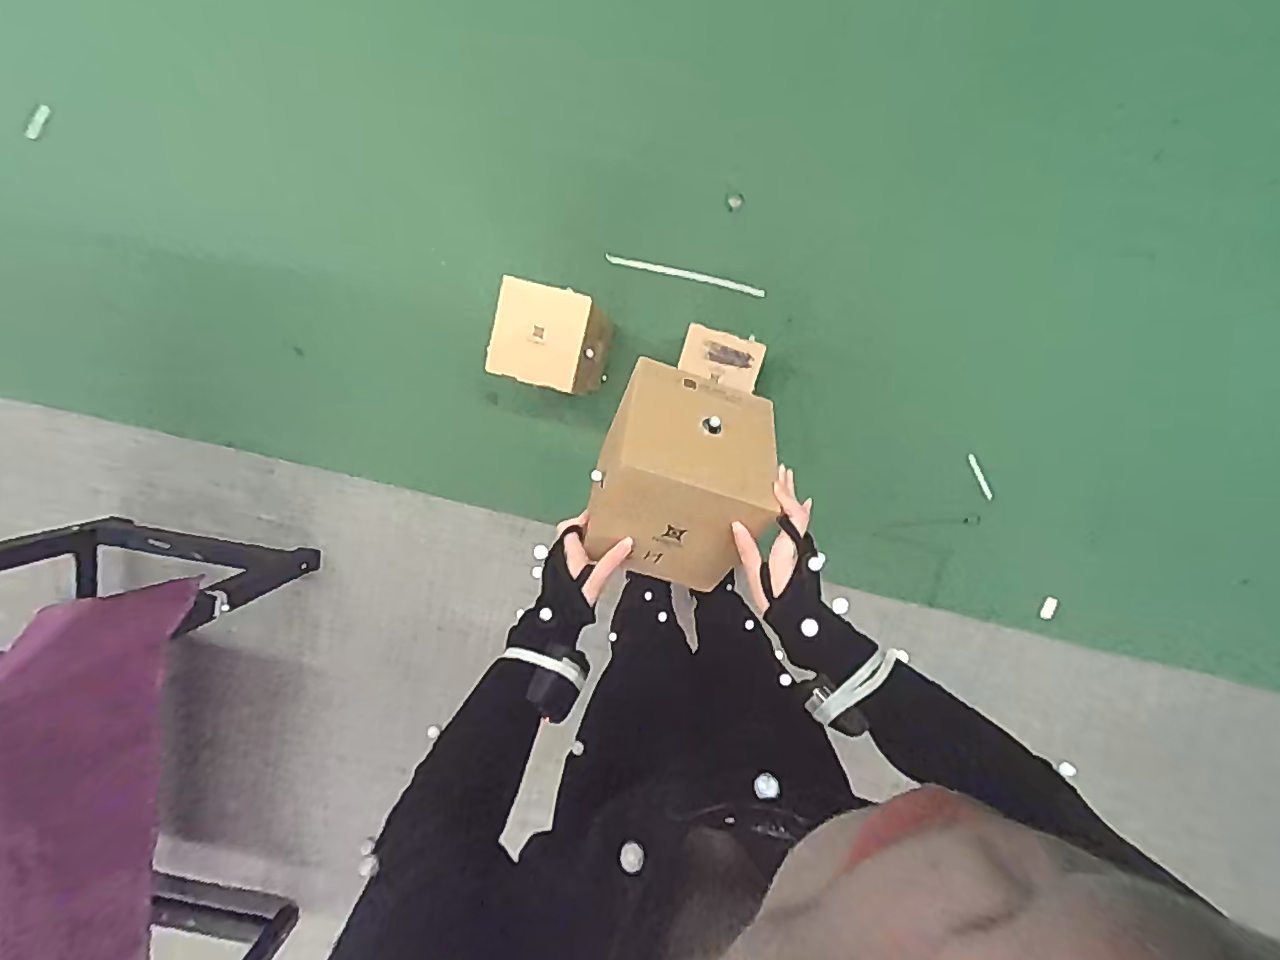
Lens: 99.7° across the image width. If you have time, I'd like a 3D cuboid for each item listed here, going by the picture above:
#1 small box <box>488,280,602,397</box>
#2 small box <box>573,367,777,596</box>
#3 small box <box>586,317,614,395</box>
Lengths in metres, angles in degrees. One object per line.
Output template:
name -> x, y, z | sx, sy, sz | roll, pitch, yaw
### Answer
small box -> -0.176, -0.267, 1.058 | 0.168, 0.176, 0.179 | 15, 99, 2
small box -> 0.036, 0.002, 0.614 | 0.168, 0.176, 0.179 | 18, 138, -10
small box -> -0.165, -0.293, 1.218 | 0.179, 0.176, 0.168 | 15, 99, 3
